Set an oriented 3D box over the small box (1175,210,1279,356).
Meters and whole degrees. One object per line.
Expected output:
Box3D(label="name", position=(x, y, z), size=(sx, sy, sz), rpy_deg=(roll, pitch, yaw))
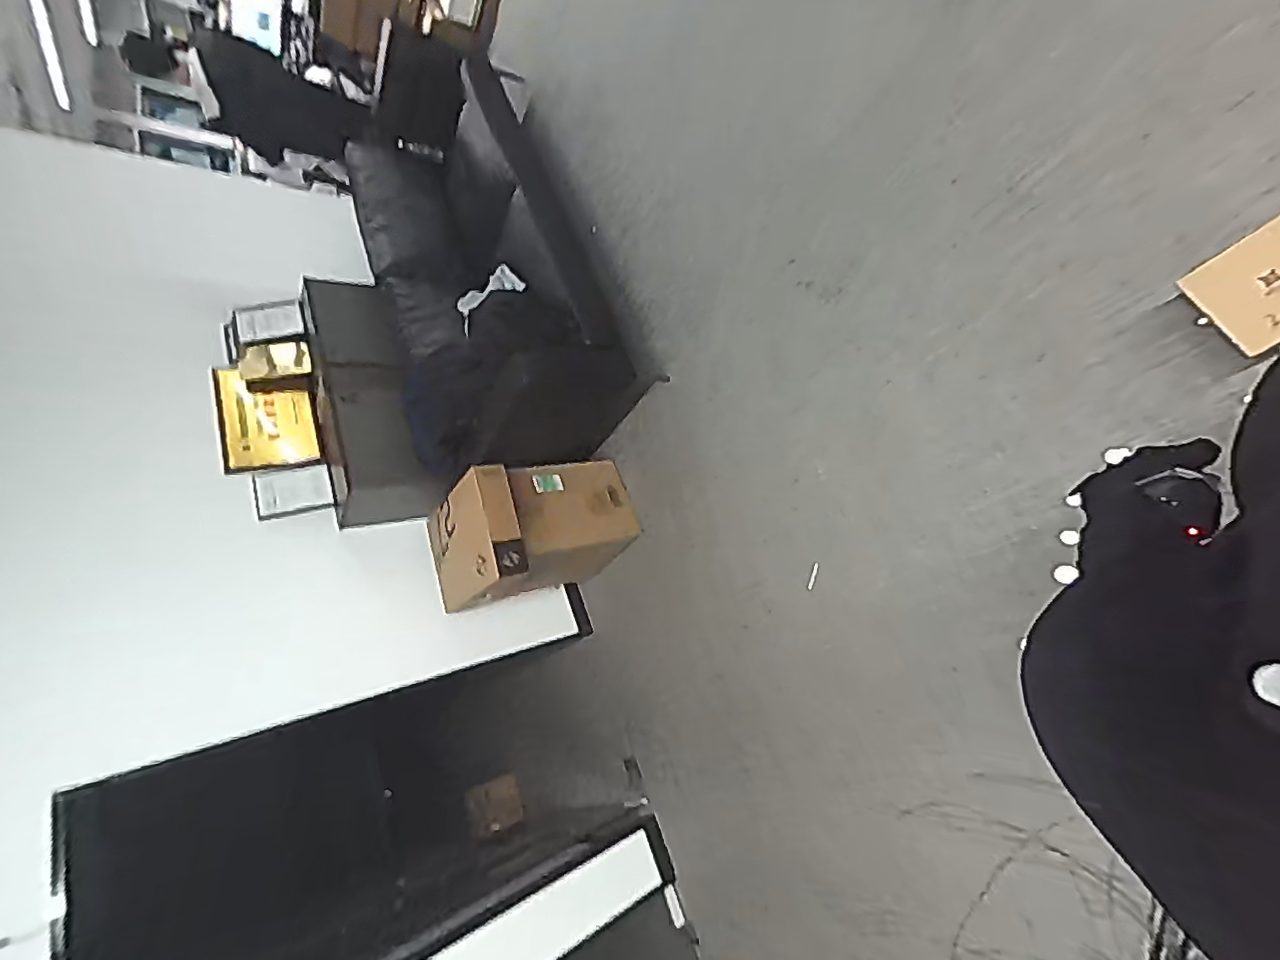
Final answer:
Box3D(label="small box", position=(1.075, -0.327, 0.916), size=(0.168, 0.176, 0.179), rpy_deg=(-47, 59, 45))
